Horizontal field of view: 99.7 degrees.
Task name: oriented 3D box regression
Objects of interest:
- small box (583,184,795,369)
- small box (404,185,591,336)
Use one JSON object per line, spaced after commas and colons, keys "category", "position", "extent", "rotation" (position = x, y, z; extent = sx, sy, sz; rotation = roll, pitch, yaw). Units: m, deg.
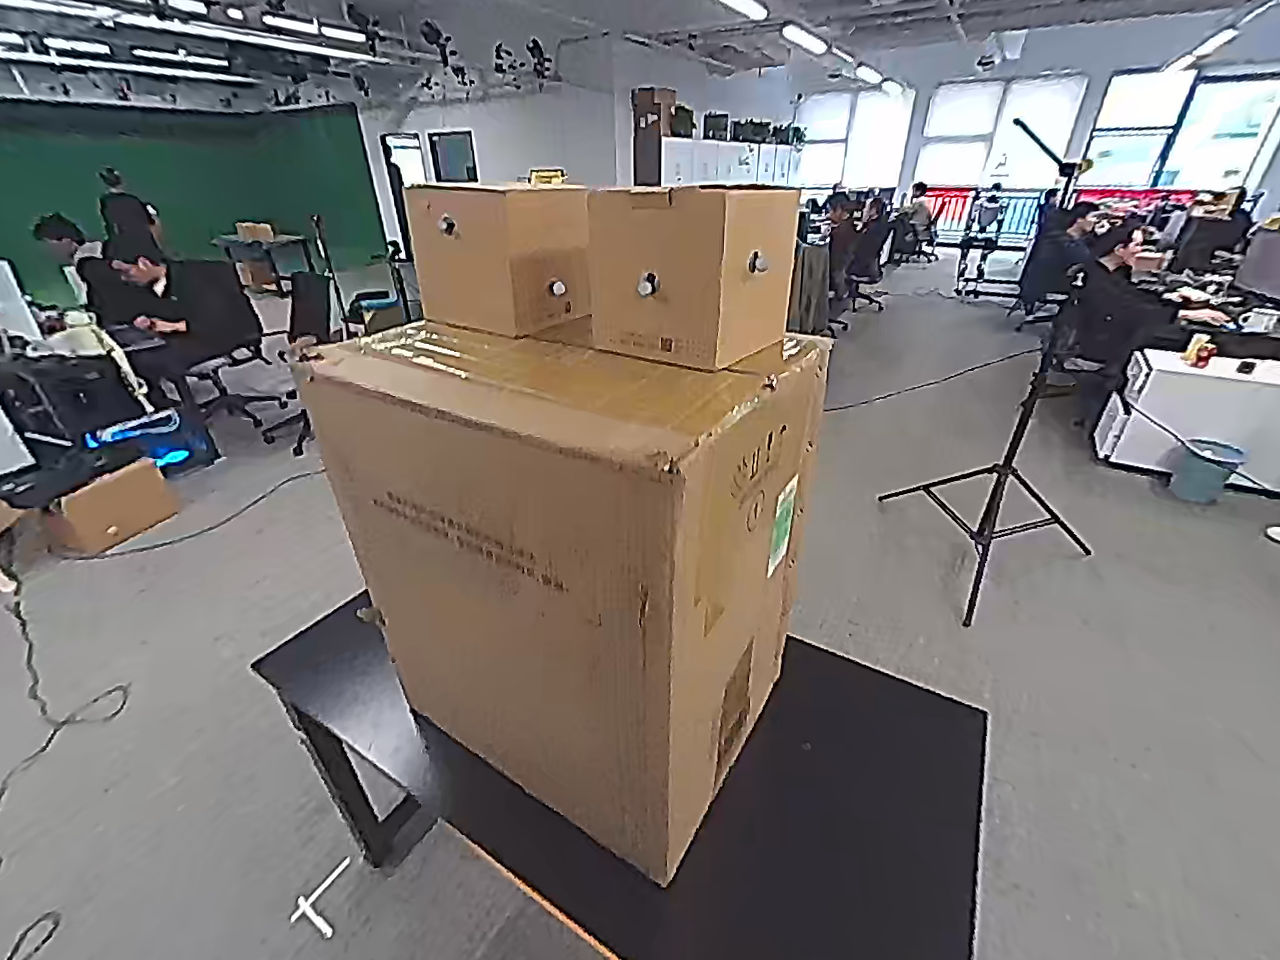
{"category": "small box", "position": [0.058, -0.233, 0.608], "extent": [0.168, 0.176, 0.179], "rotation": [18, 34, 31]}
{"category": "small box", "position": [-0.183, -0.301, 0.731], "extent": [0.179, 0.176, 0.168], "rotation": [18, 34, 27]}
